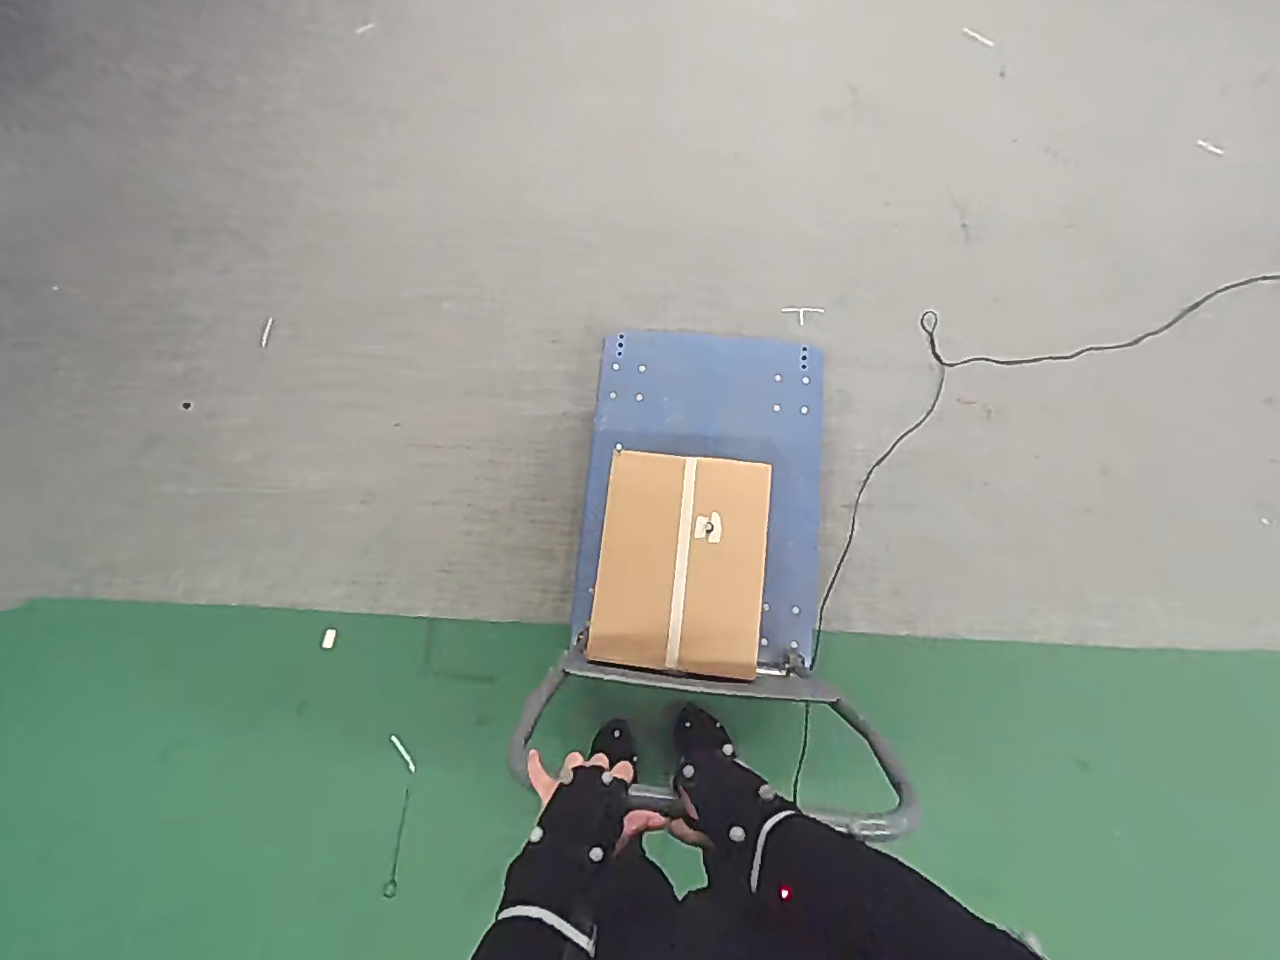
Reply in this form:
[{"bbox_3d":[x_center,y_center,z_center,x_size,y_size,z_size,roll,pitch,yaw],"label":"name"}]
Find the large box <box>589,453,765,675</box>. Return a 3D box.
[{"bbox_3d":[0.084,0.184,1.177,0.320,0.320,0.408,6,78,4],"label":"large box"}]
